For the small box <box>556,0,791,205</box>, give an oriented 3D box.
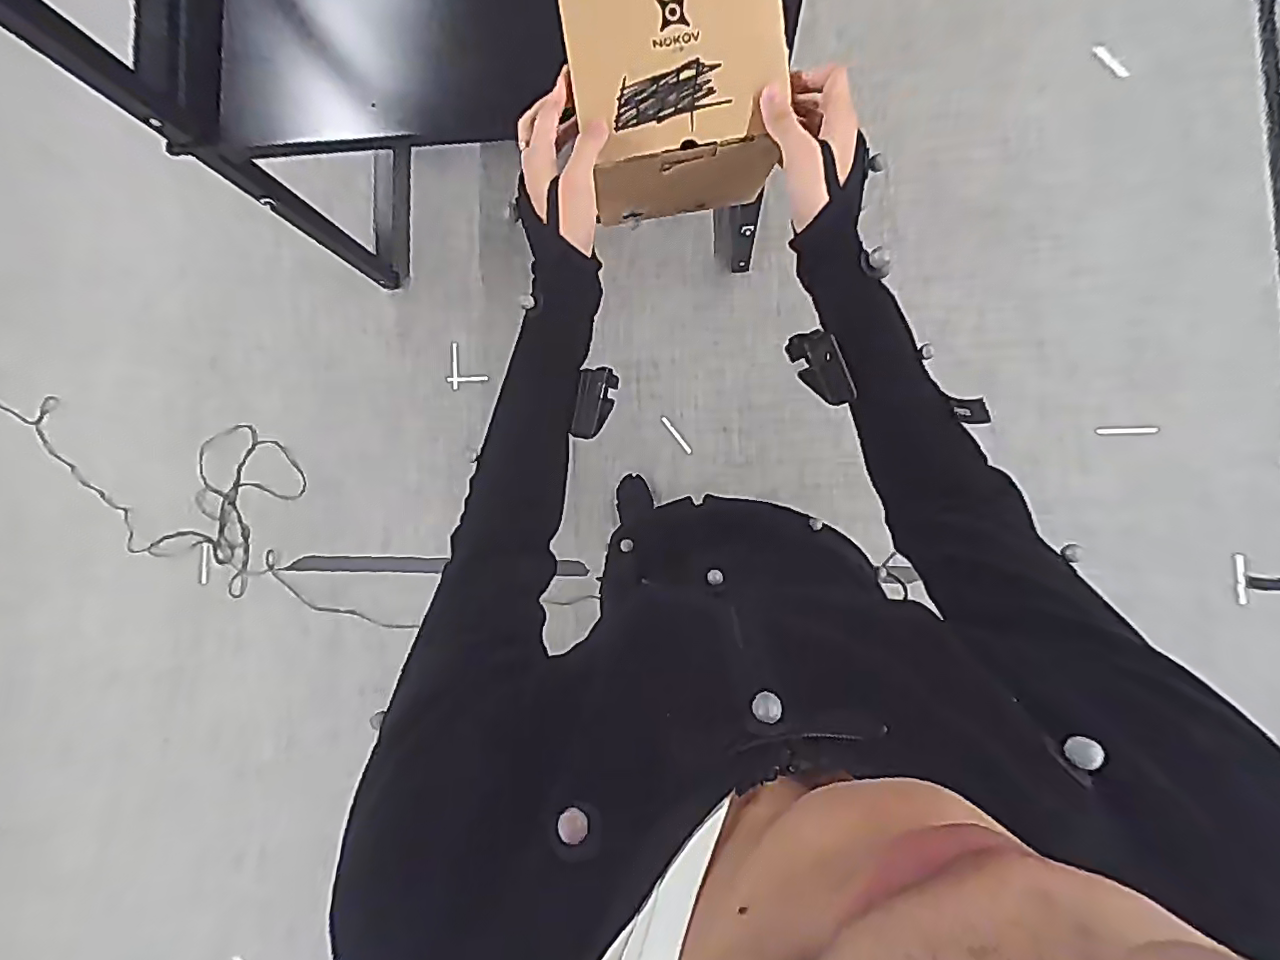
[{"bbox_3d":[0.024,-0.360,0.472,0.168,0.176,0.179,-9,99,2],"label":"small box"}]
